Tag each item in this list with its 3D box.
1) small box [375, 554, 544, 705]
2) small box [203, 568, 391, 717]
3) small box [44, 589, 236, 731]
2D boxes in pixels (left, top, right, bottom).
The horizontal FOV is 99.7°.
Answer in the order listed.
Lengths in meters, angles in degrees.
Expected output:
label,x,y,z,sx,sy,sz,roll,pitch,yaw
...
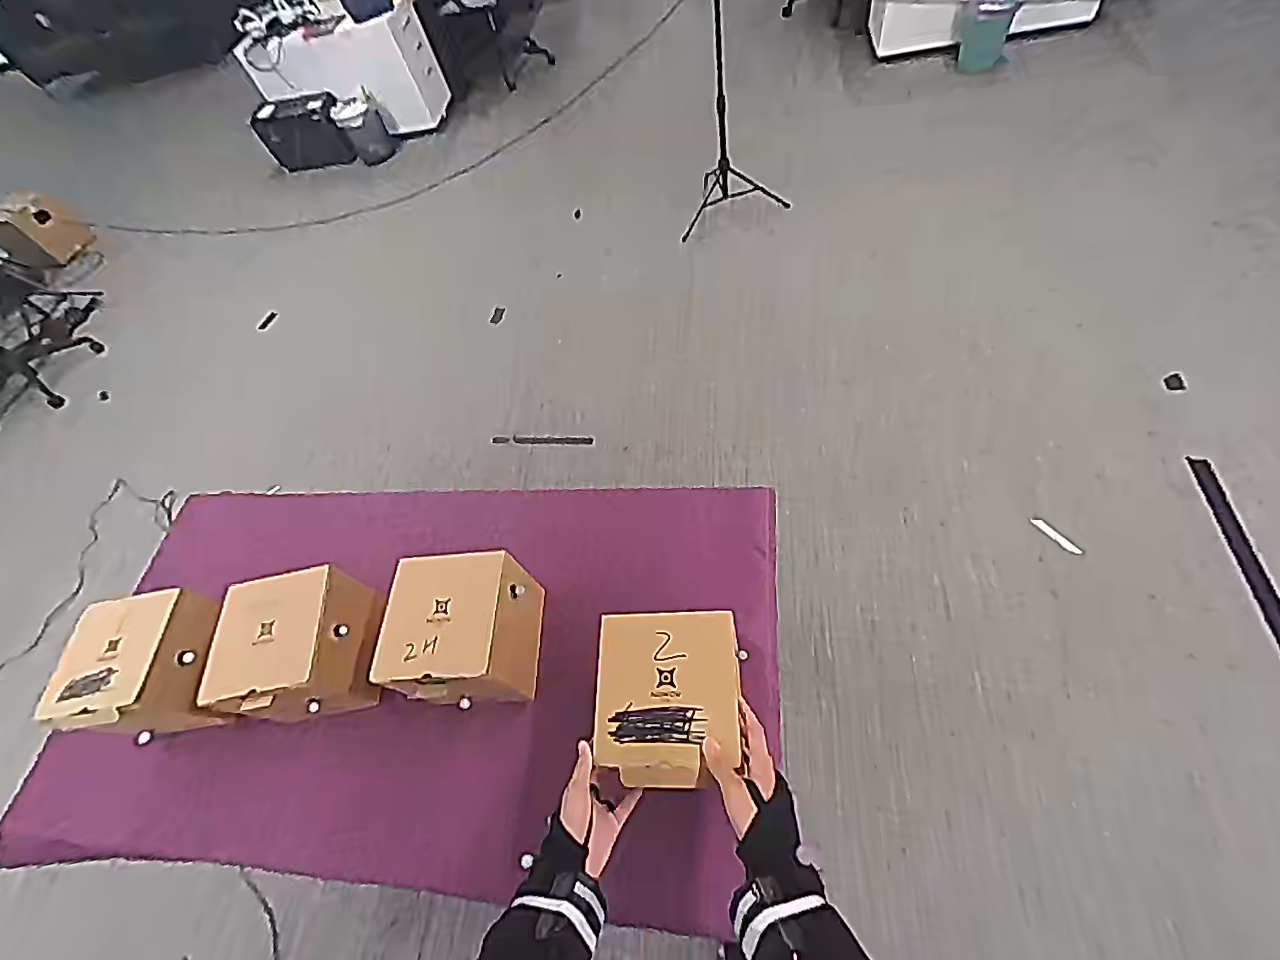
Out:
label,x,y,z,sx,sy,sz,roll,pitch,yaw
small box,-0.251,0.225,0.802,0.168,0.176,0.179,-5,58,10
small box,-0.512,0.260,0.840,0.168,0.176,0.179,-12,57,4
small box,-0.759,0.296,0.869,0.168,0.176,0.179,-10,56,5
